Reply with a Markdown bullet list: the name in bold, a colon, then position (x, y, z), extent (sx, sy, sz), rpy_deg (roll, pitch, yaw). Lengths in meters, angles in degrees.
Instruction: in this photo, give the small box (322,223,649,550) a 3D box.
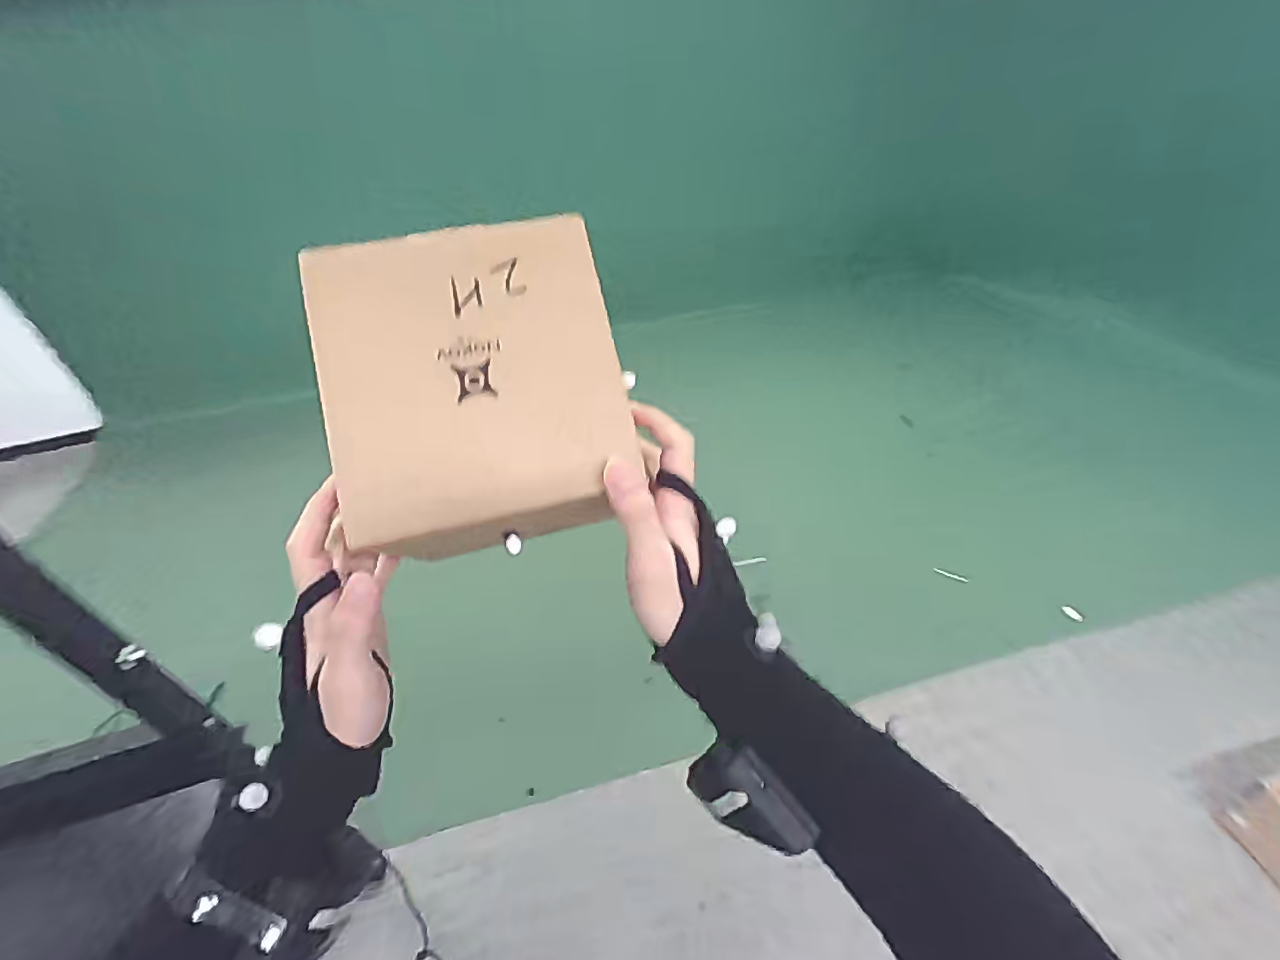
- **small box**: position (-0.098, -0.048, 0.389), extent (0.168, 0.176, 0.179), rpy_deg (-11, 80, -10)
